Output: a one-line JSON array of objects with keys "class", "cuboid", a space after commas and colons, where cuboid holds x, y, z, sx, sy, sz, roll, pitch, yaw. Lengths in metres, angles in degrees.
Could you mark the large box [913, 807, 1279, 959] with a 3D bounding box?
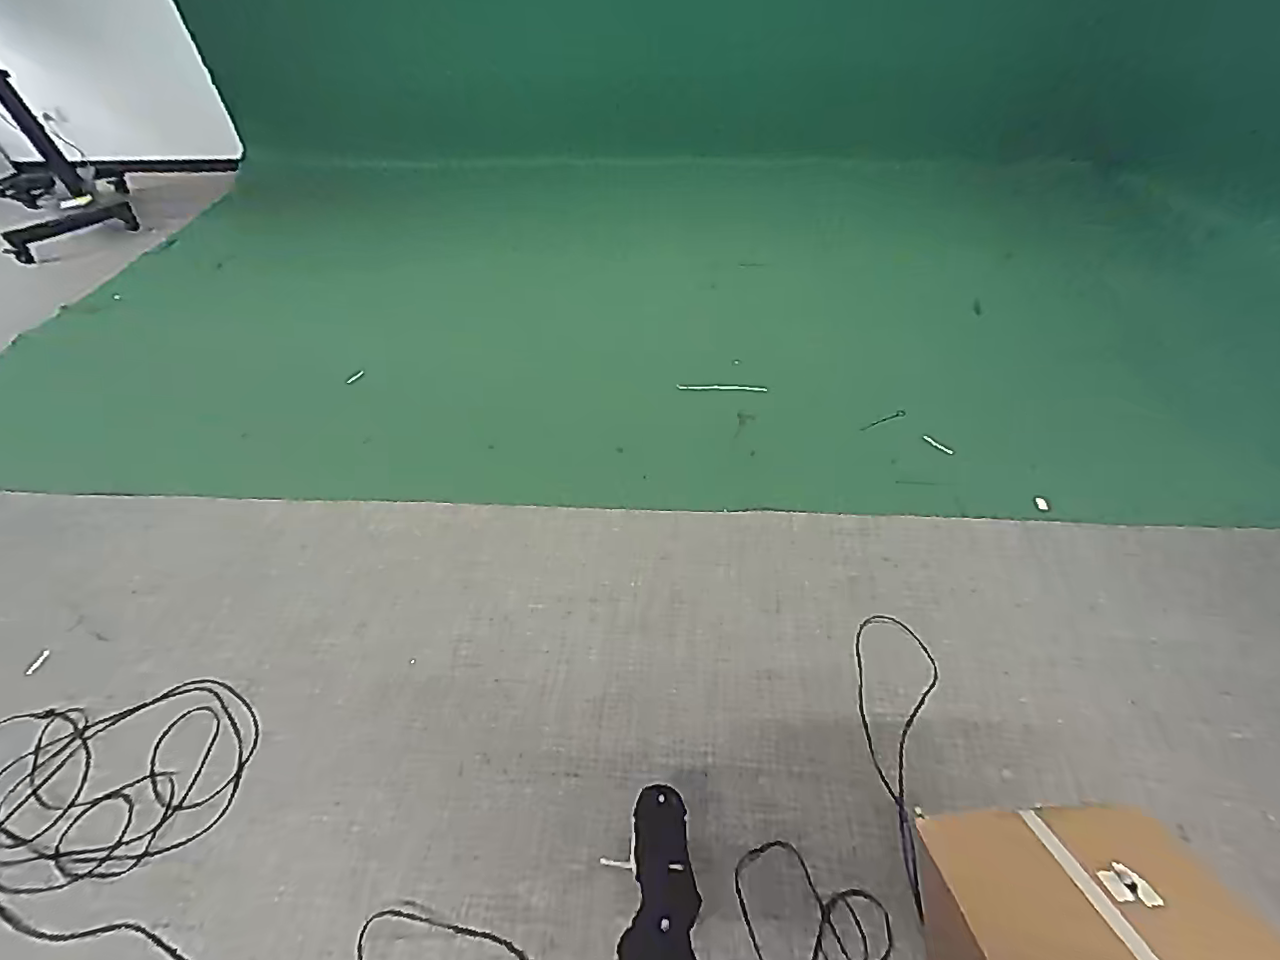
[{"class": "large box", "cuboid": [0.569, 0.670, 0.628, 0.320, 0.320, 0.408, -7, 6, 7]}]
